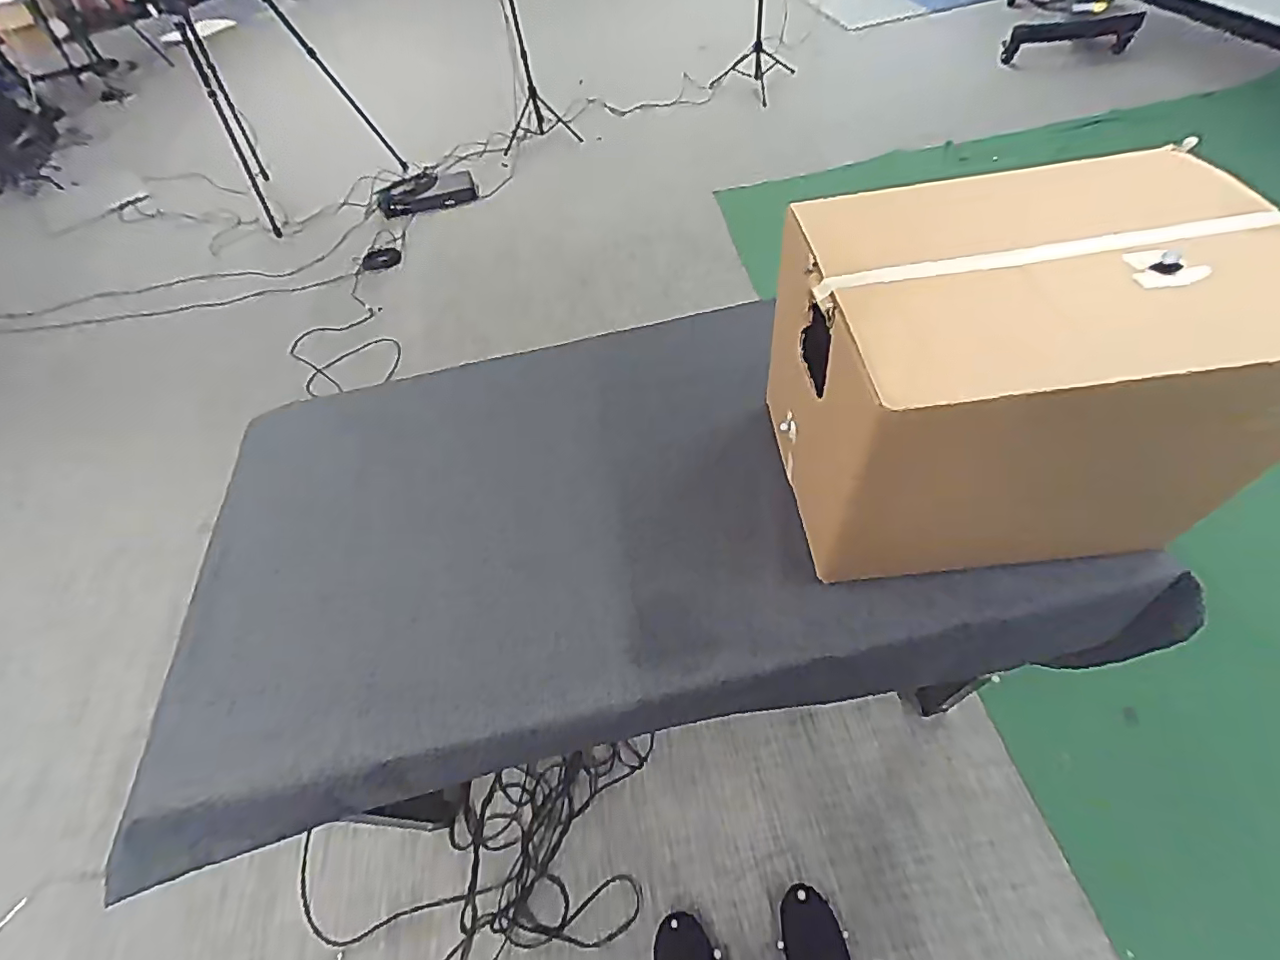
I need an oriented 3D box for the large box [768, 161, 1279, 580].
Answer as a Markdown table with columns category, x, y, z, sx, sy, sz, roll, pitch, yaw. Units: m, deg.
| category | x | y | z | sx | sy | sz | roll | pitch | yaw |
| --- | --- | --- | --- | --- | --- | --- | --- | --- | --- |
| large box | 0.388 | -0.109 | 0.613 | 0.408 | 0.320 | 0.320 | -7 | 54 | 2 |
